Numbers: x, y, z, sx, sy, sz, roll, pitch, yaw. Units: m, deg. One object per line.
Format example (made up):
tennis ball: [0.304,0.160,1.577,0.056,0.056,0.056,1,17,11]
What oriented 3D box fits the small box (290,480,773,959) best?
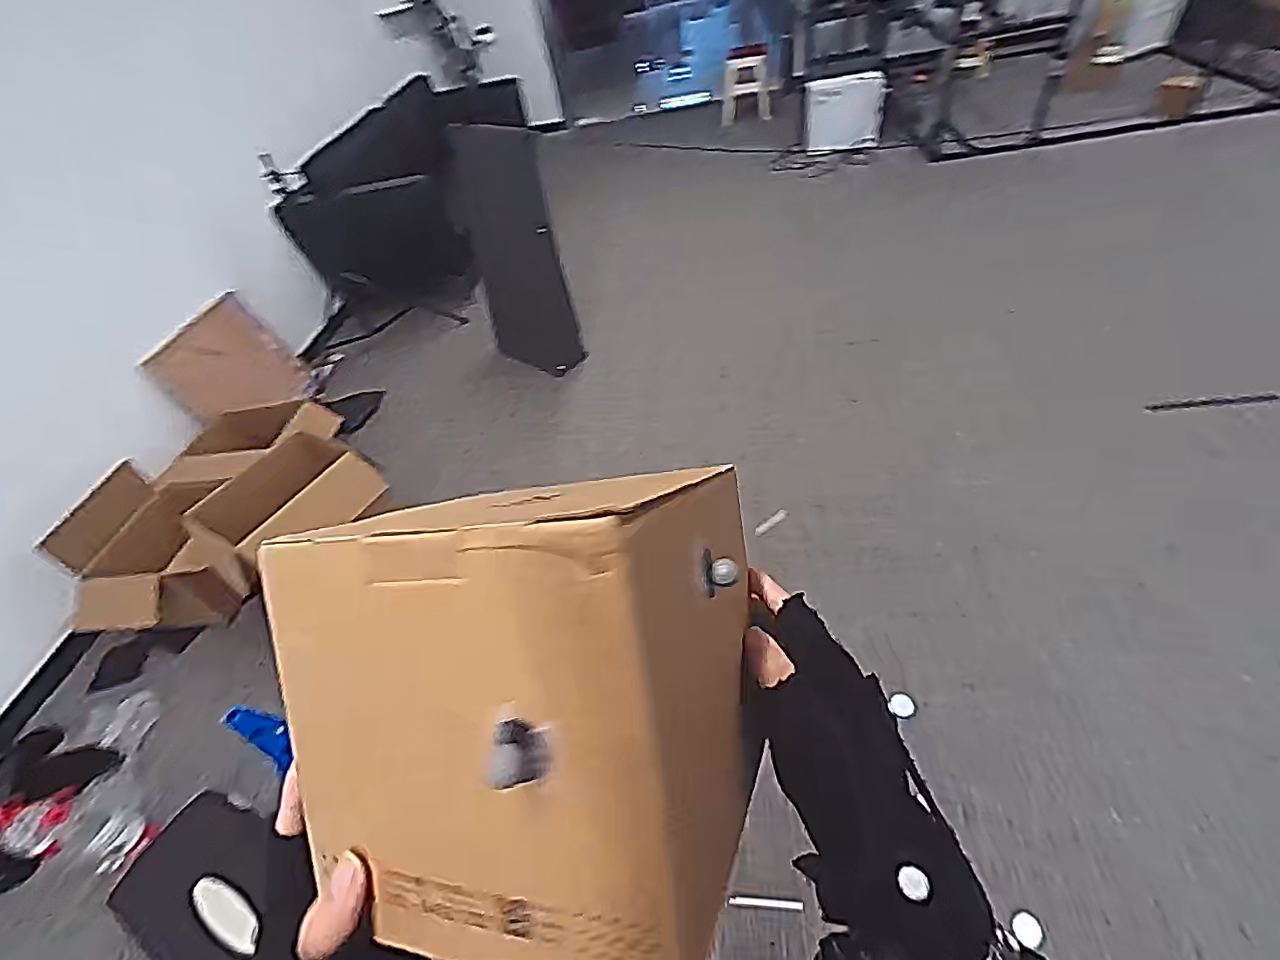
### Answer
small box: [-0.030,0.099,0.276,0.168,0.176,0.179,-6,3,21]
